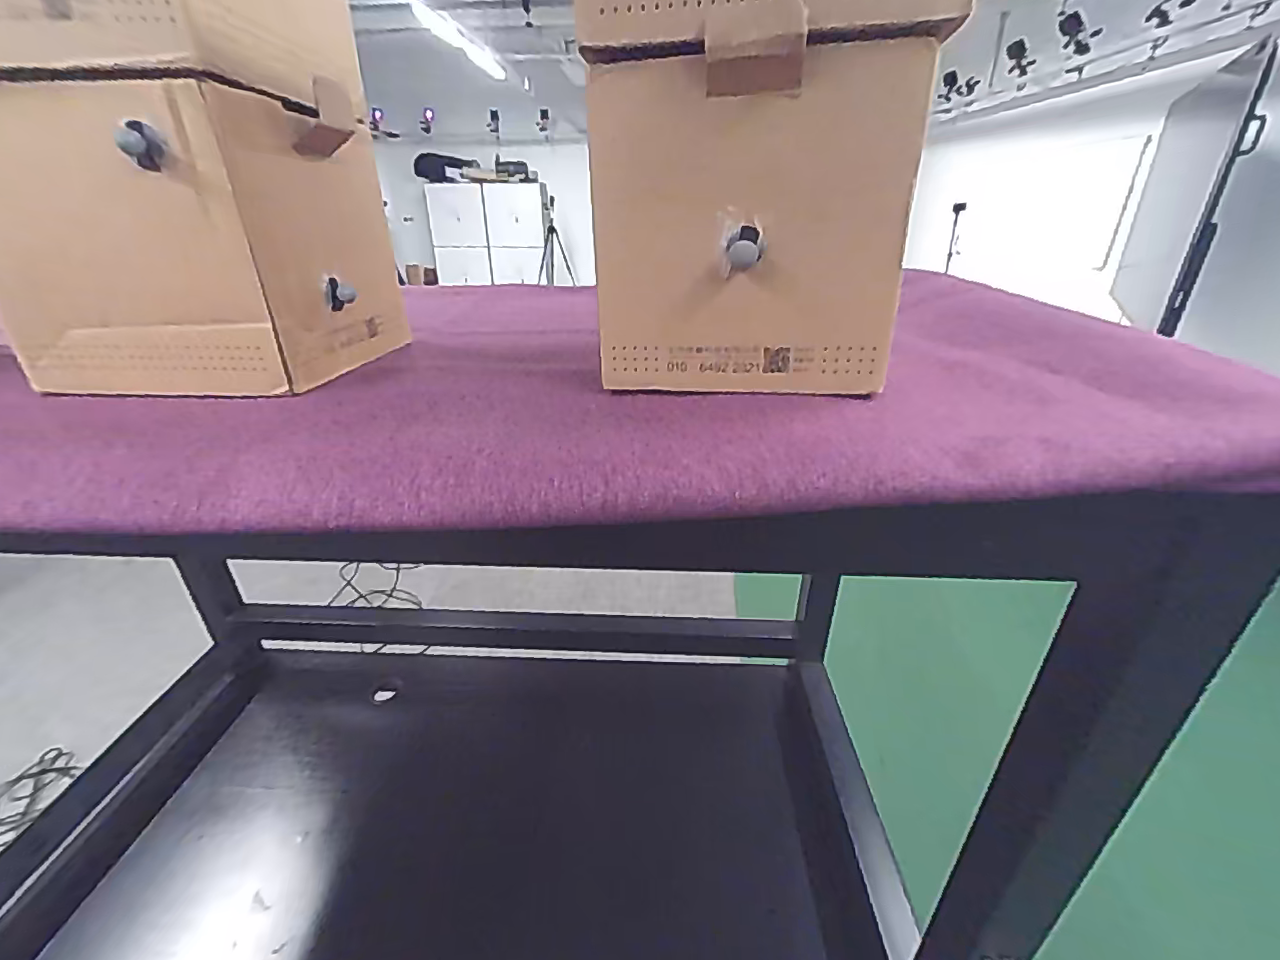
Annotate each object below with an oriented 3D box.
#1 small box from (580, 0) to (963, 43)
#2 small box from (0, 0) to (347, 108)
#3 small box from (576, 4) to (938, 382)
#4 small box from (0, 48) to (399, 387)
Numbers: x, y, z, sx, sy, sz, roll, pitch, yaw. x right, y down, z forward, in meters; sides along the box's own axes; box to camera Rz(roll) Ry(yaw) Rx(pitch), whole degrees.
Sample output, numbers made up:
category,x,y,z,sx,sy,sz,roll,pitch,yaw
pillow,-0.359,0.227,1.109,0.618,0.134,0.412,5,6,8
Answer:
category,x,y,z,sx,sy,sz,roll,pitch,yaw
small box,0.064,-0.310,0.272,0.179,0.176,0.168,3,25,8
small box,-0.289,-0.310,0.295,0.168,0.176,0.179,2,25,0
small box,0.067,-0.165,0.351,0.168,0.176,0.179,3,26,10
small box,-0.295,-0.164,0.367,0.179,0.176,0.168,1,26,2
